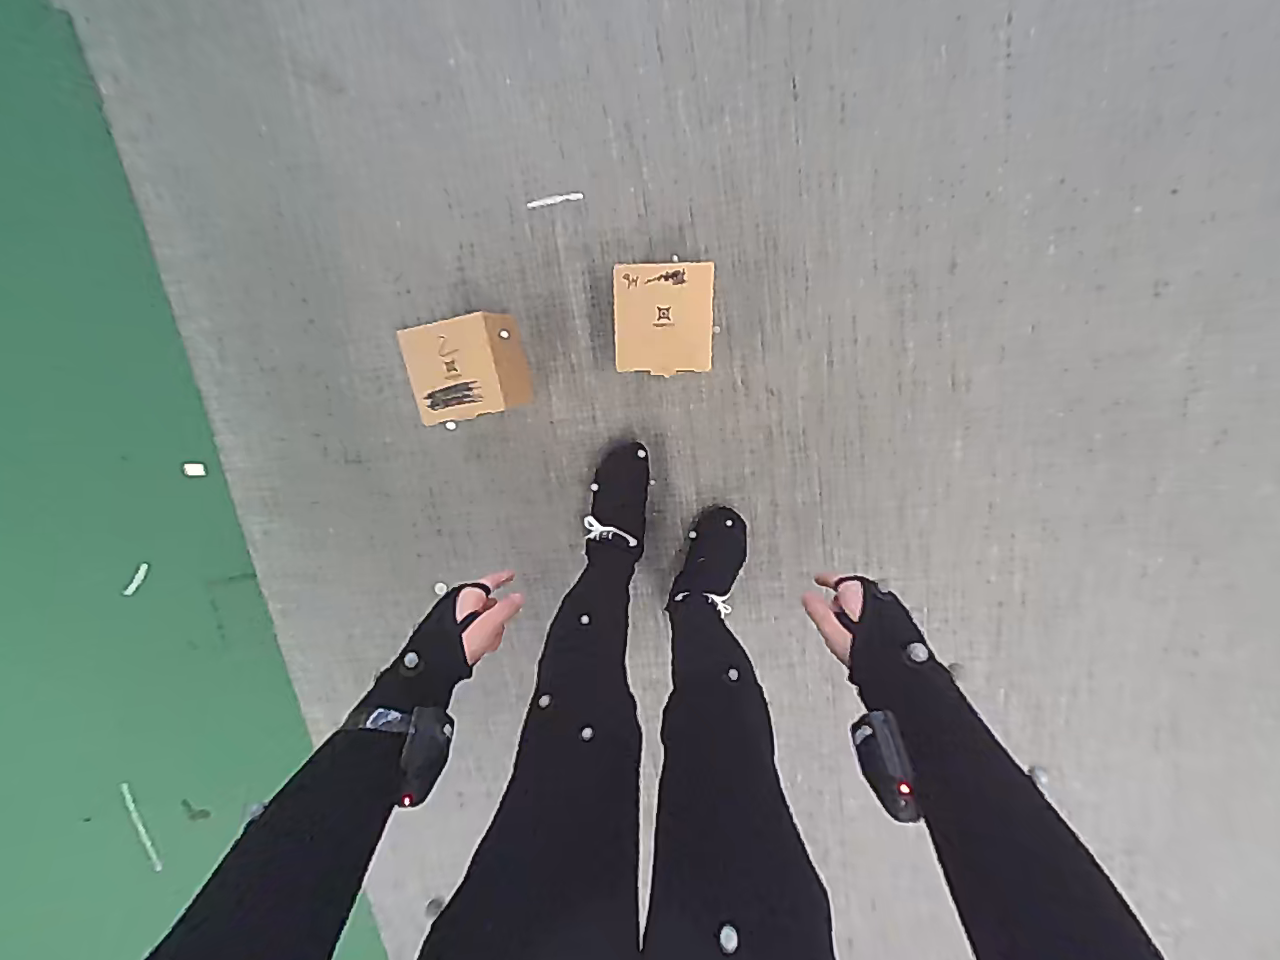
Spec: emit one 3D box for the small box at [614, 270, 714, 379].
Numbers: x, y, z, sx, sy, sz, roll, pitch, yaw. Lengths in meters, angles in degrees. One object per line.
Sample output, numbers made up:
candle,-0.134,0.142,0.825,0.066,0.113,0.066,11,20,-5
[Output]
small box,0.048,-0.278,0.975,0.168,0.176,0.179,1,105,7
